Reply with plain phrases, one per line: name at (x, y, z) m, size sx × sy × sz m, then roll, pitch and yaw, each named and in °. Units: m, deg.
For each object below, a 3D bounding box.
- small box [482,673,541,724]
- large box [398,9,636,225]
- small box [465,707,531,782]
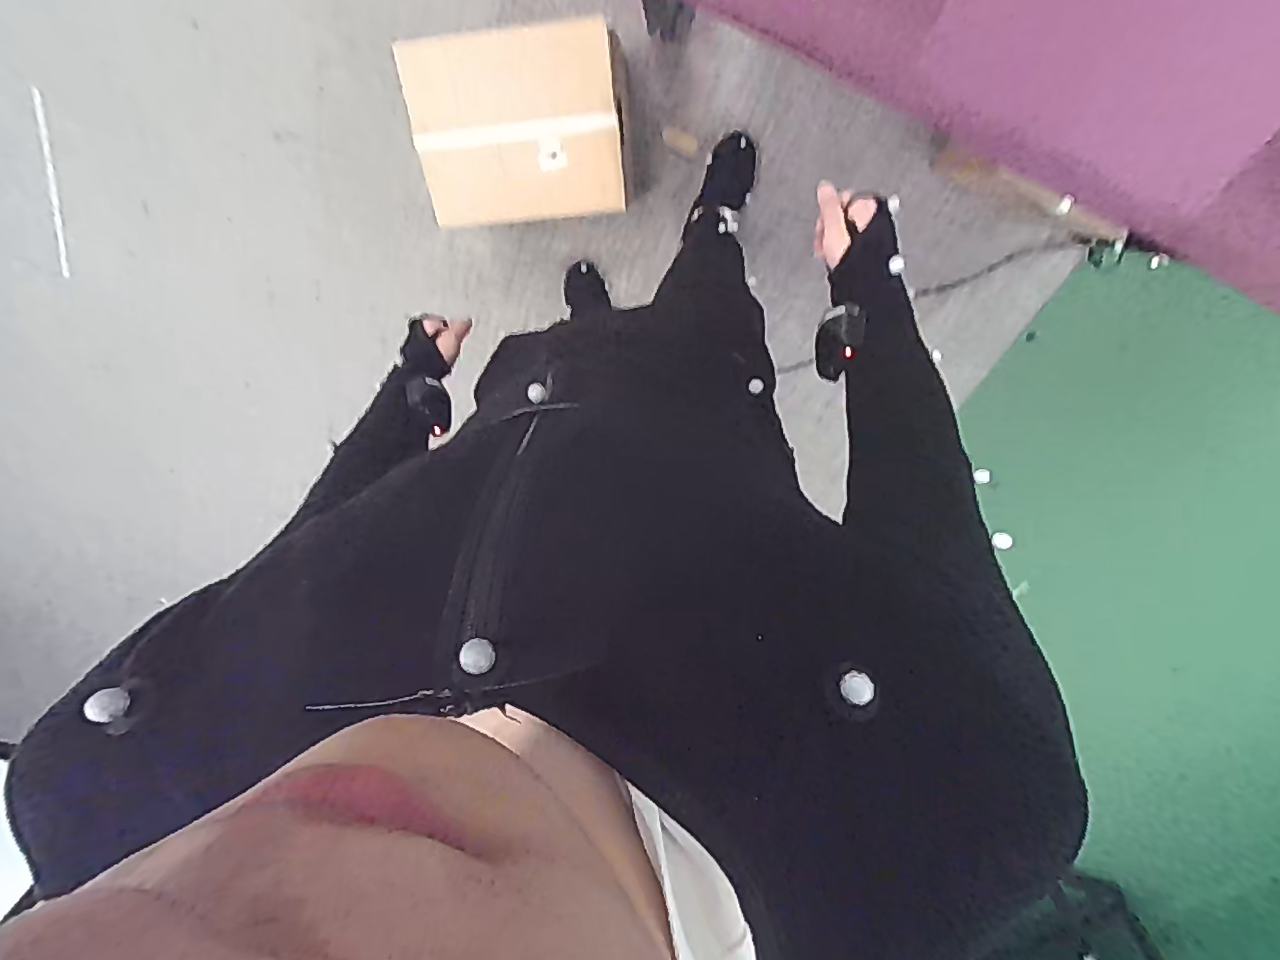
small box at (-0.523, 0.932, 2.221) m, size 0.168 × 0.176 × 0.179 m, roll 28°, pitch 118°, yaw -9°
large box at (-0.227, -0.756, 1.168) m, size 0.408 × 0.320 × 0.320 m, roll -4°, pitch 121°, yaw 5°
small box at (-0.541, 1.015, 2.082) m, size 0.168 × 0.176 × 0.179 m, roll 31°, pitch 117°, yaw -11°
